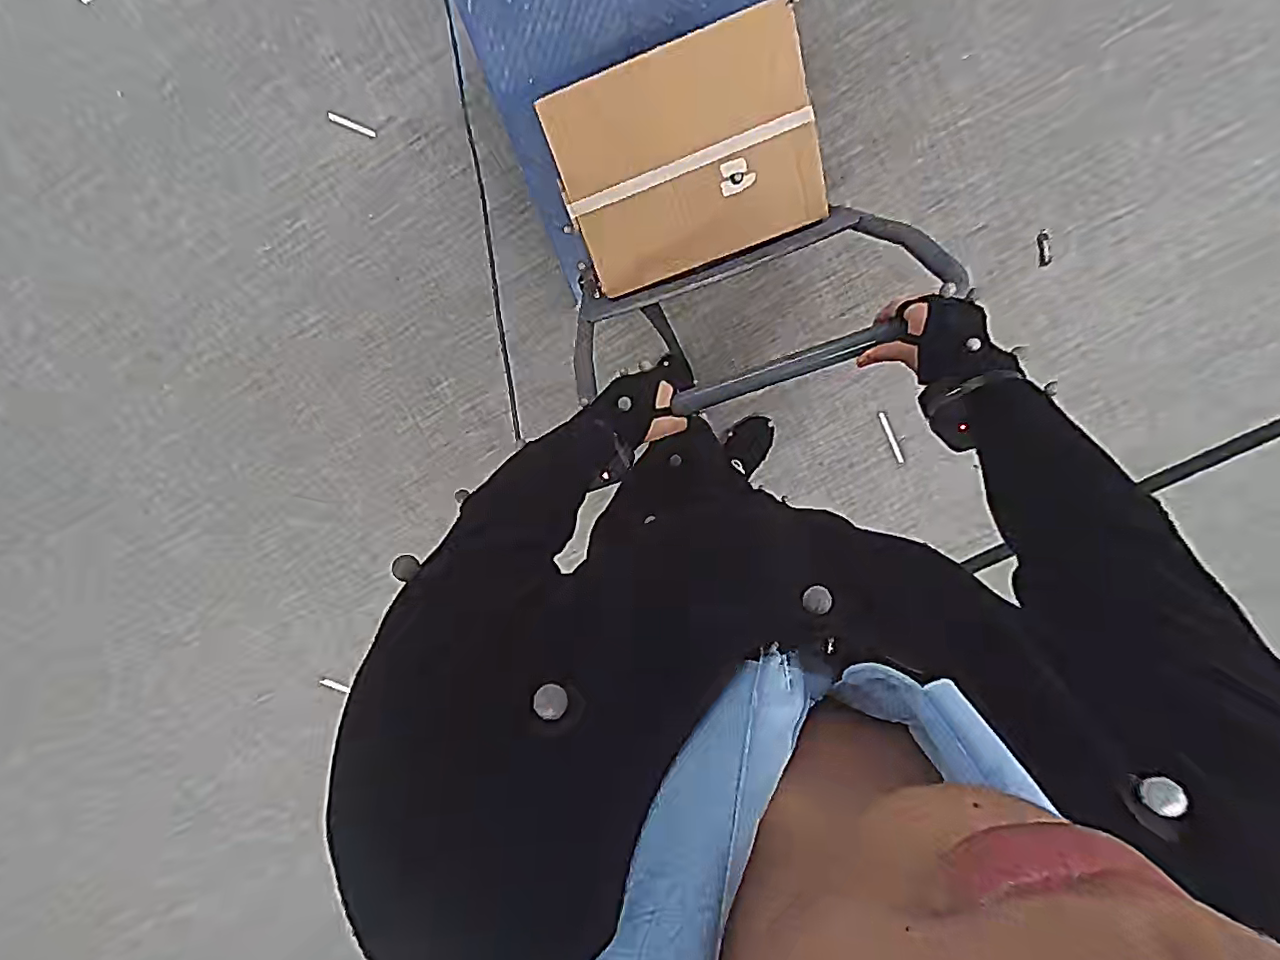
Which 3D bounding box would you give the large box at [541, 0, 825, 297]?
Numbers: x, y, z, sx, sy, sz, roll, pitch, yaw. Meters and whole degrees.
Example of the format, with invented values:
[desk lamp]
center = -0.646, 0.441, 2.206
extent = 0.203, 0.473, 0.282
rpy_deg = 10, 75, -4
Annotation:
[large box]
center = 0.073, -0.587, 1.016
extent = 0.408, 0.320, 0.320
rpy_deg = -19, 118, 7
